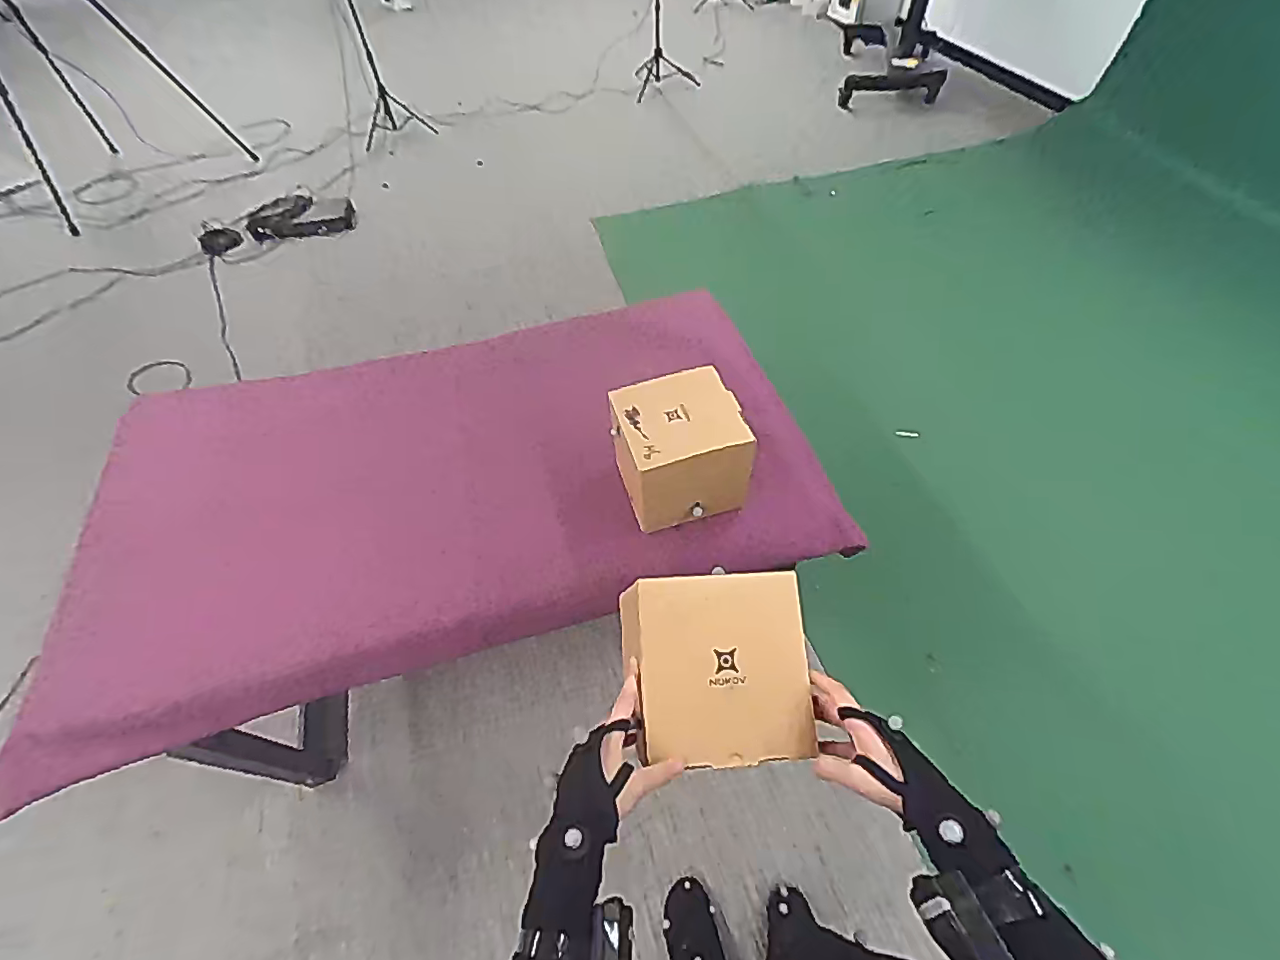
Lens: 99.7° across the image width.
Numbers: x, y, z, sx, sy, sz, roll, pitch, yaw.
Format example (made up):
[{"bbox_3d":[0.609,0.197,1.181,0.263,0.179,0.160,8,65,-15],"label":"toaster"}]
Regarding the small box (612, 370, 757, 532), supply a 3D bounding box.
[{"bbox_3d":[0.064,-0.043,0.854,0.179,0.176,0.168,-15,52,-8],"label":"small box"}]
